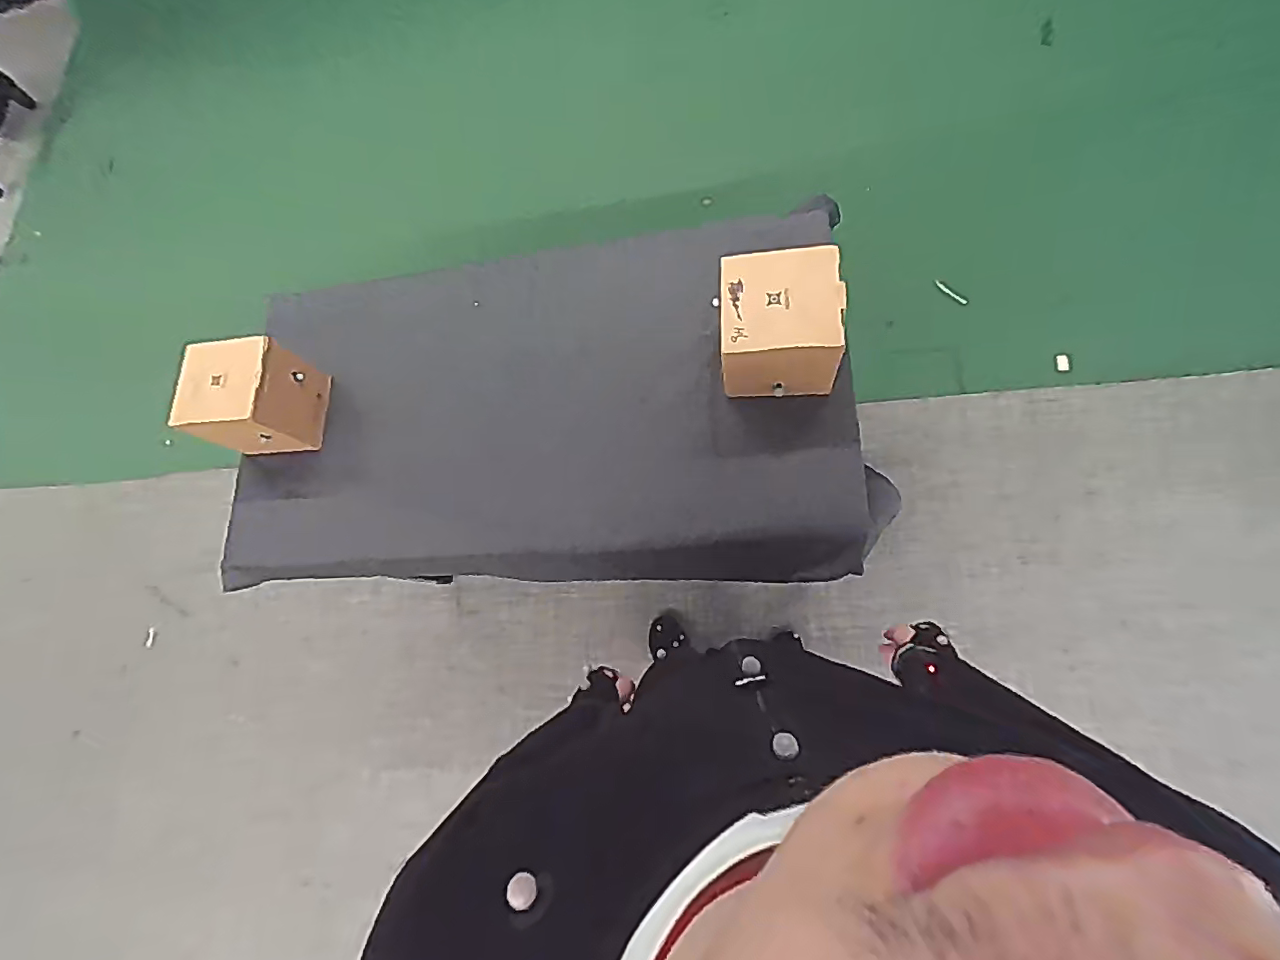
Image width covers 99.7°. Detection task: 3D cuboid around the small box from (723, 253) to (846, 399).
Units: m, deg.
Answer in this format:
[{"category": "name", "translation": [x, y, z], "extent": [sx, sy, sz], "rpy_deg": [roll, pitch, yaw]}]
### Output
[{"category": "small box", "translation": [0.226, -0.240, 0.879], "extent": [0.179, 0.176, 0.168], "rpy_deg": [-1, 75, 11]}]

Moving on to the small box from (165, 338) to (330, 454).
[{"category": "small box", "translation": [-0.737, -0.154, 1.037], "extent": [0.179, 0.176, 0.168], "rpy_deg": [-1, 72, 11]}]
